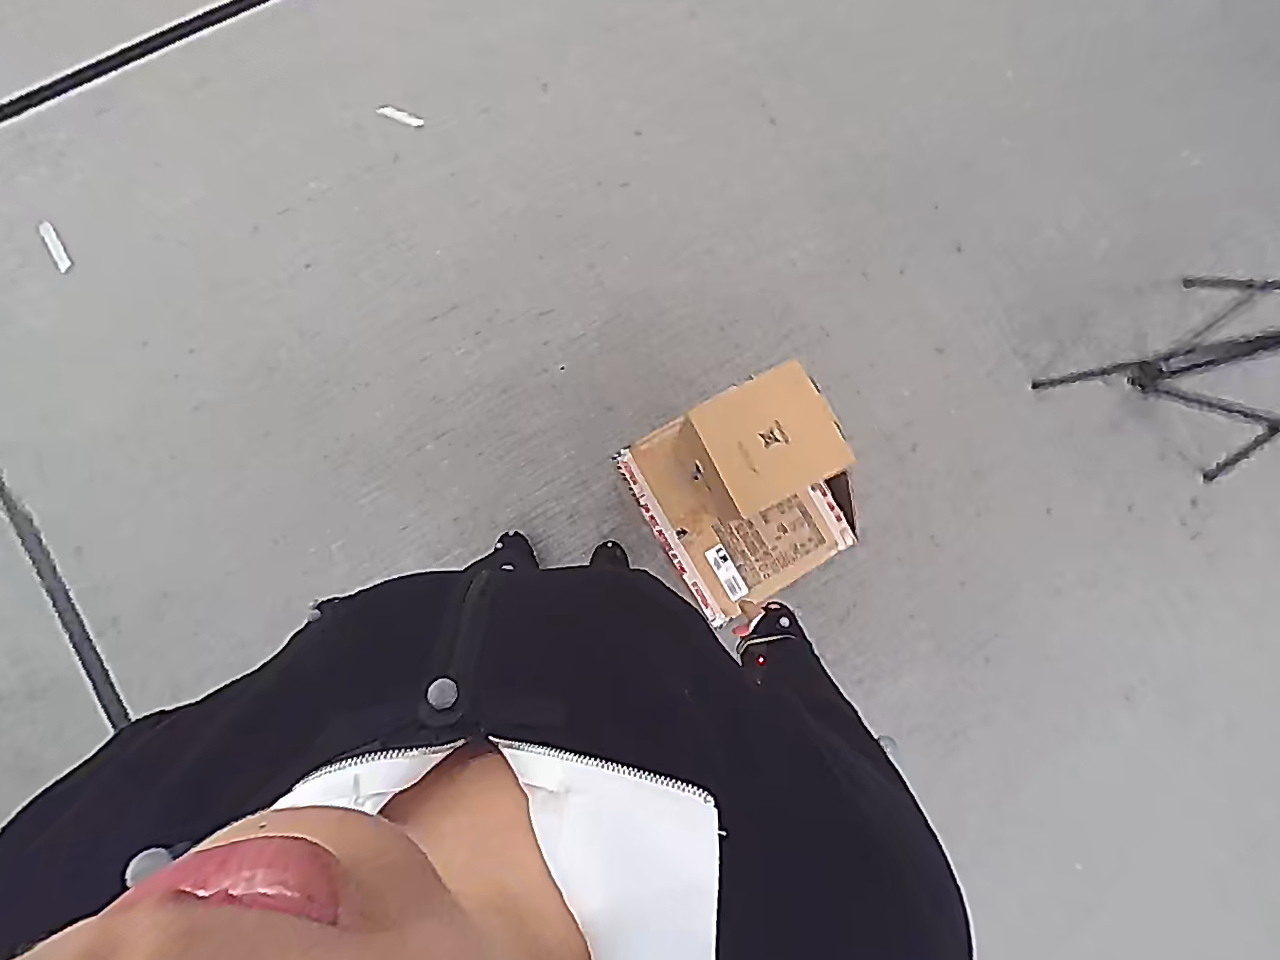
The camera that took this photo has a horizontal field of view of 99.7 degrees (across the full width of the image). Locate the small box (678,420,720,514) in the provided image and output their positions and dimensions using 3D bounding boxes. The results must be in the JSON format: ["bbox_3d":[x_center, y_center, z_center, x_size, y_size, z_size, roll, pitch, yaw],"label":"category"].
[{"bbox_3d":[0.177,-0.047,0.960,0.179,0.176,0.168,-27,86,-2],"label":"small box"}]

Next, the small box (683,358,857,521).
[{"bbox_3d":[0.177,-0.050,0.796,0.179,0.176,0.168,-27,84,-2],"label":"small box"}]
